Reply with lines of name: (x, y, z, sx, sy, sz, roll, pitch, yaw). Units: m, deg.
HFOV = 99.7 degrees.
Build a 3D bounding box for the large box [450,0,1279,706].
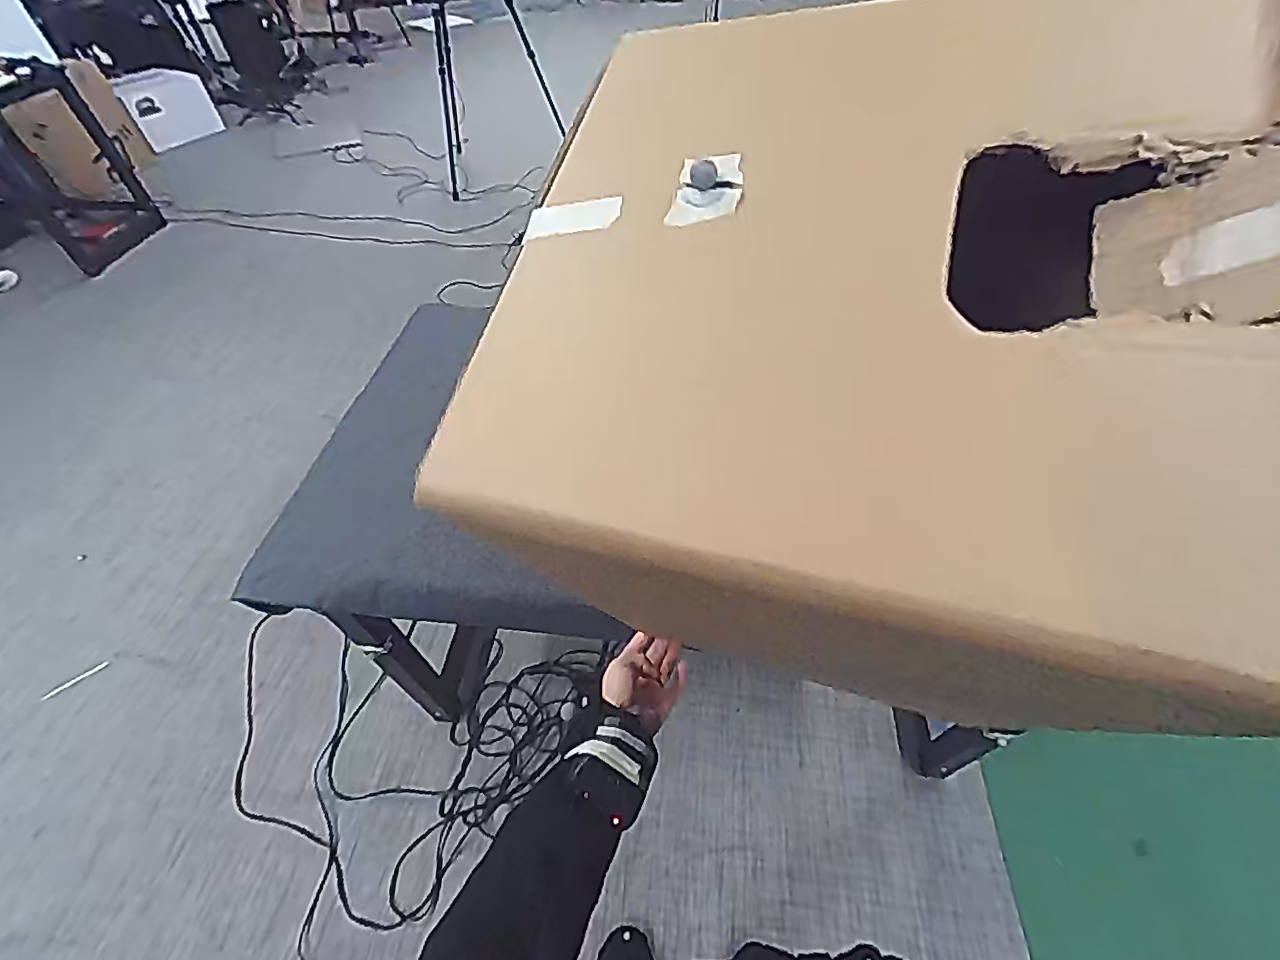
large box: (0.131, -0.032, 0.418, 0.320, 0.408, 0.320, 10, 71, 19)
